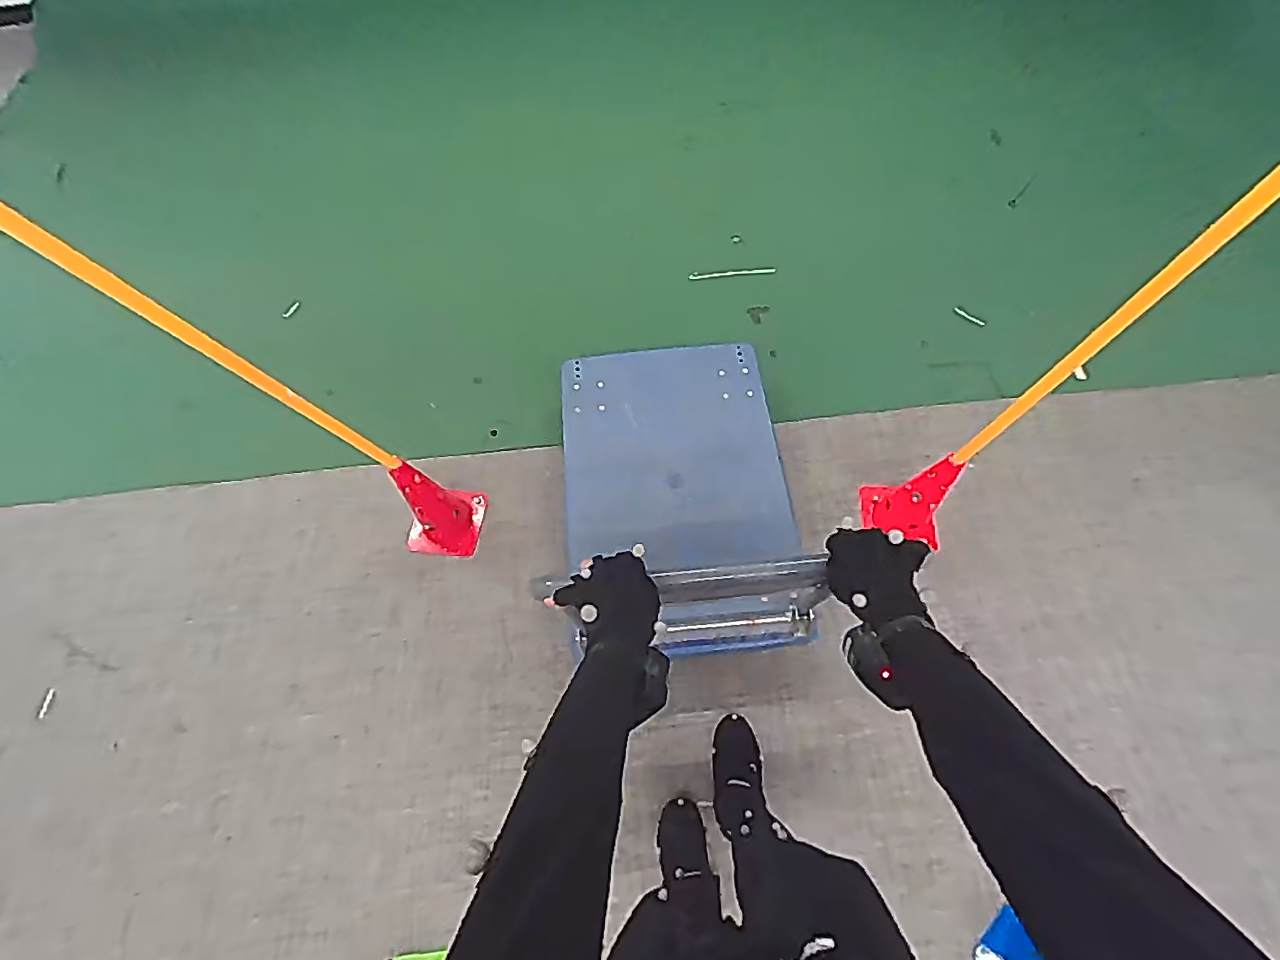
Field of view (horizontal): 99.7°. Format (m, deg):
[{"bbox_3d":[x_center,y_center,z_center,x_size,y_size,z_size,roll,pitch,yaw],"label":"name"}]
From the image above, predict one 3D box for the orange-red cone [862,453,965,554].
[{"bbox_3d":[0.727,0.036,1.379,0.198,0.360,0.199,4,64,5],"label":"orange-red cone"}]
